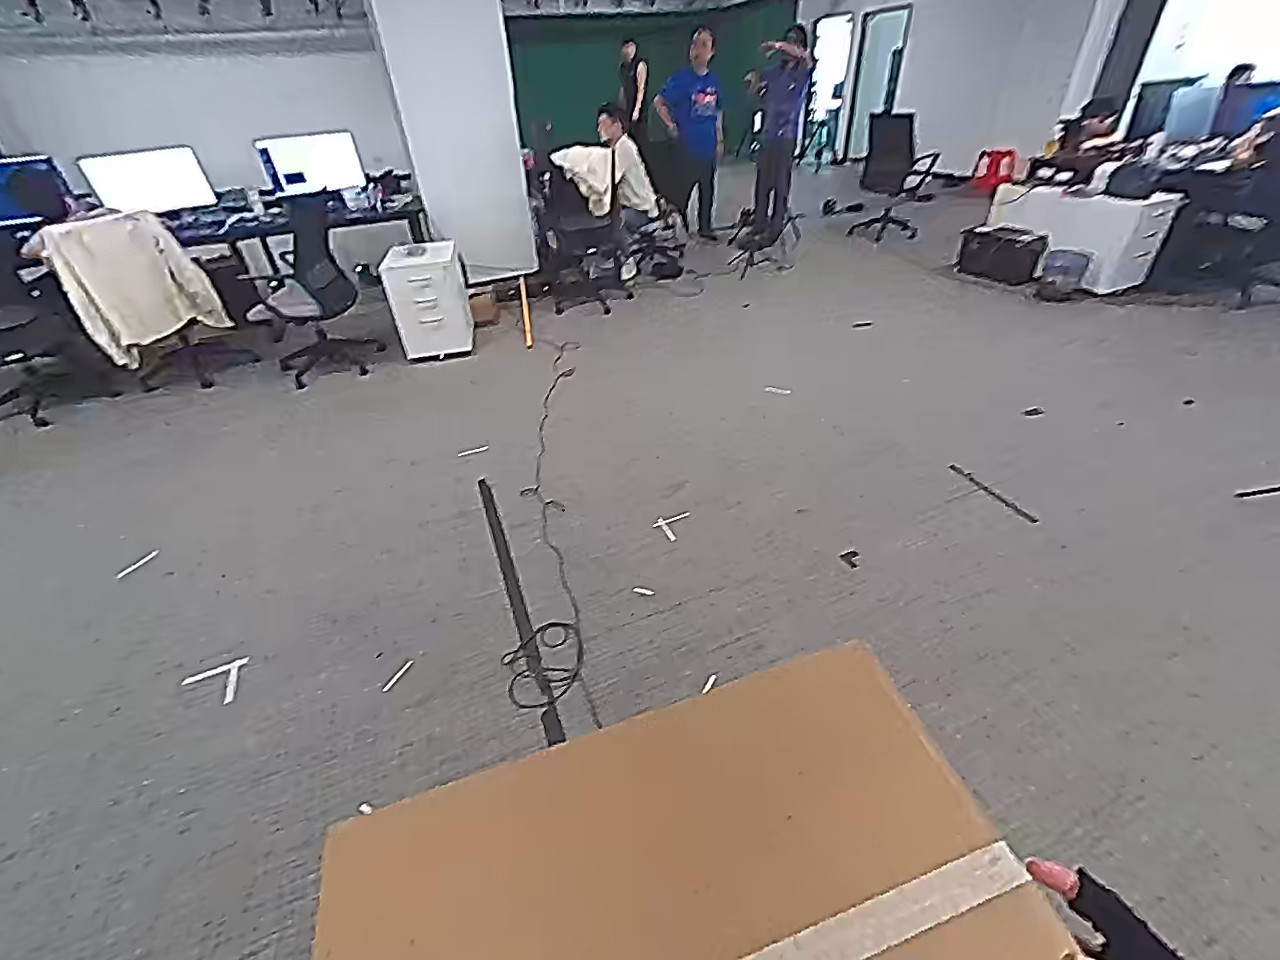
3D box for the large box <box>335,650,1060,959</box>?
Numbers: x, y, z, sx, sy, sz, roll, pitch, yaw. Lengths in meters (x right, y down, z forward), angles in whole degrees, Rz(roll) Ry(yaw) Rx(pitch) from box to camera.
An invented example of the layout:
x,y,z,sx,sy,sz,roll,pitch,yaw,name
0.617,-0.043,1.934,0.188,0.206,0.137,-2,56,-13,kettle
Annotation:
x,y,z,sx,sy,sz,roll,pitch,yaw,name
0.045,0.393,0.401,0.408,0.320,0.320,-16,43,-9,large box
